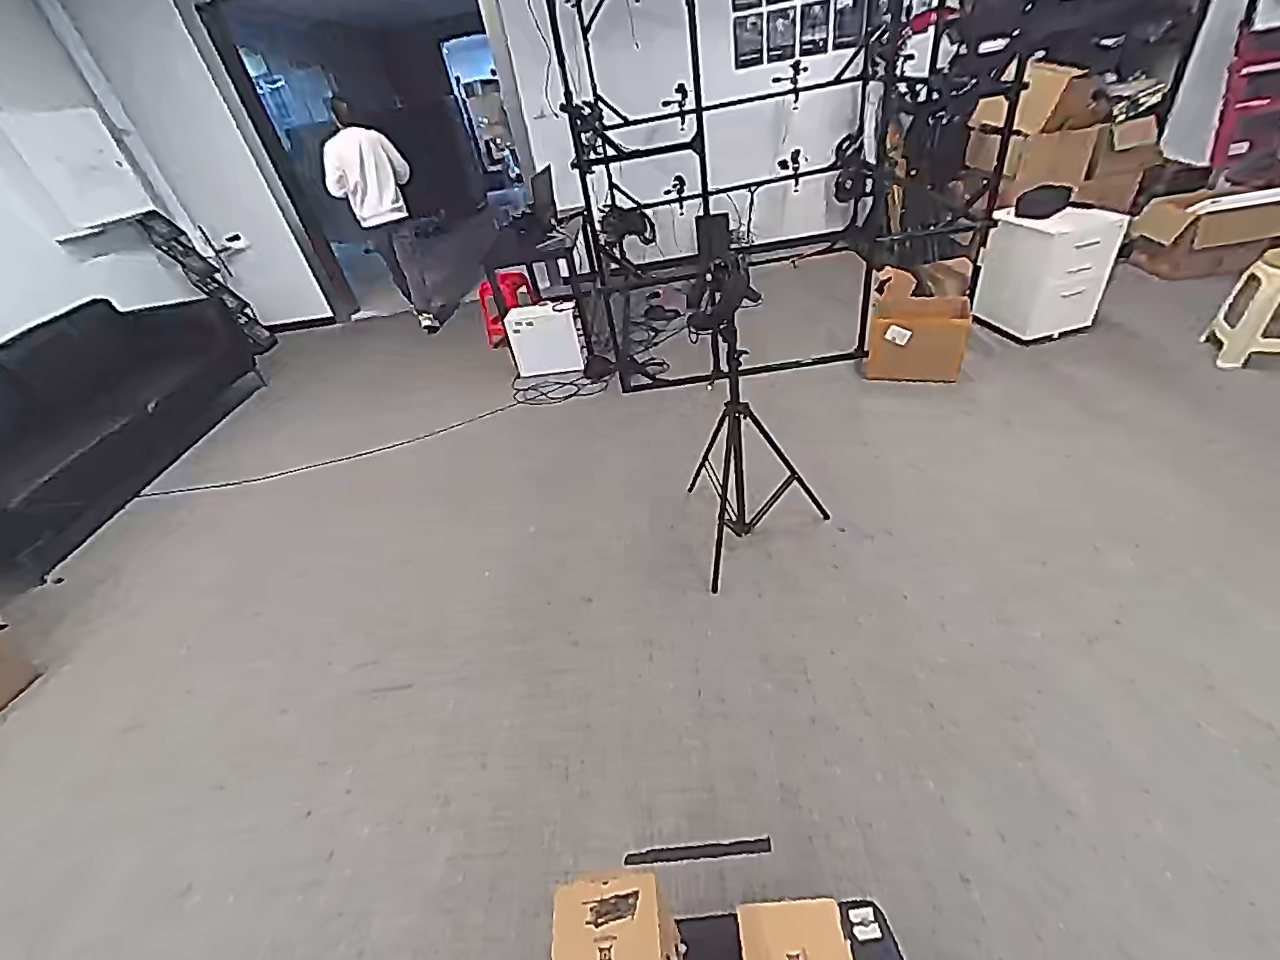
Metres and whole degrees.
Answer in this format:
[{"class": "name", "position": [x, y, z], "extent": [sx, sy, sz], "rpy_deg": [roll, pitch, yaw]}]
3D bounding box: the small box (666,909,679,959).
[{"class": "small box", "position": [-0.012, 0.886, 0.941], "extent": [0.168, 0.176, 0.179], "rpy_deg": [-9, 37, 3]}]

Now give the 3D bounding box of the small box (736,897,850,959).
[{"class": "small box", "position": [0.267, 0.846, 0.928], "extent": [0.179, 0.176, 0.168], "rpy_deg": [-9, 36, 6]}]

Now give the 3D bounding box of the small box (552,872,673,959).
[{"class": "small box", "position": [-0.039, 0.754, 0.847], "extent": [0.168, 0.176, 0.179], "rpy_deg": [-9, 37, 2]}]
